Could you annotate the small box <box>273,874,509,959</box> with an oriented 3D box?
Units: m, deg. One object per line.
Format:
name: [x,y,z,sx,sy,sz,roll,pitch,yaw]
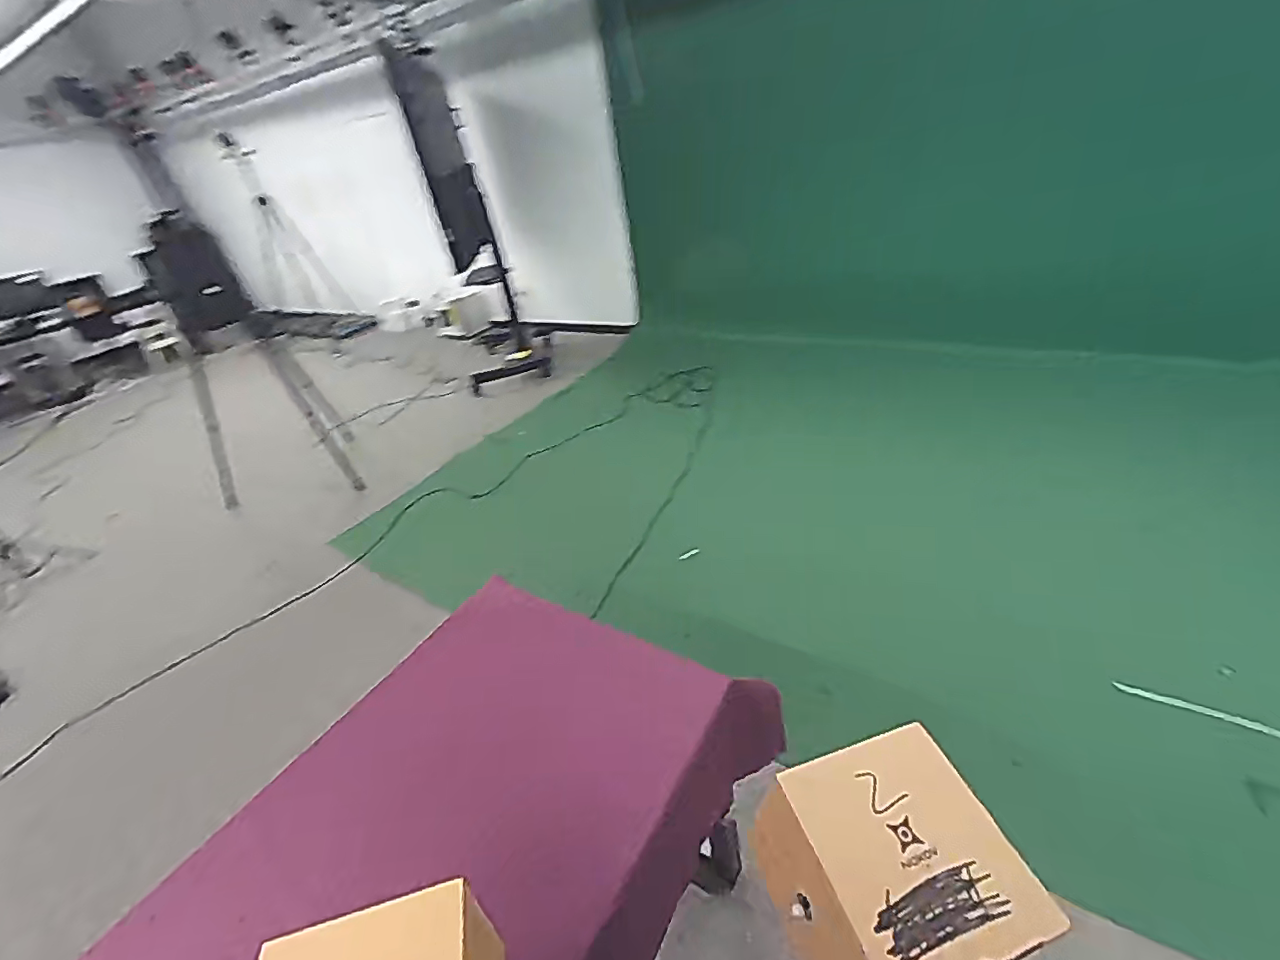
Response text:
small box: [-0.200,0.477,0.444,0.168,0.176,0.179,-11,36,-10]
